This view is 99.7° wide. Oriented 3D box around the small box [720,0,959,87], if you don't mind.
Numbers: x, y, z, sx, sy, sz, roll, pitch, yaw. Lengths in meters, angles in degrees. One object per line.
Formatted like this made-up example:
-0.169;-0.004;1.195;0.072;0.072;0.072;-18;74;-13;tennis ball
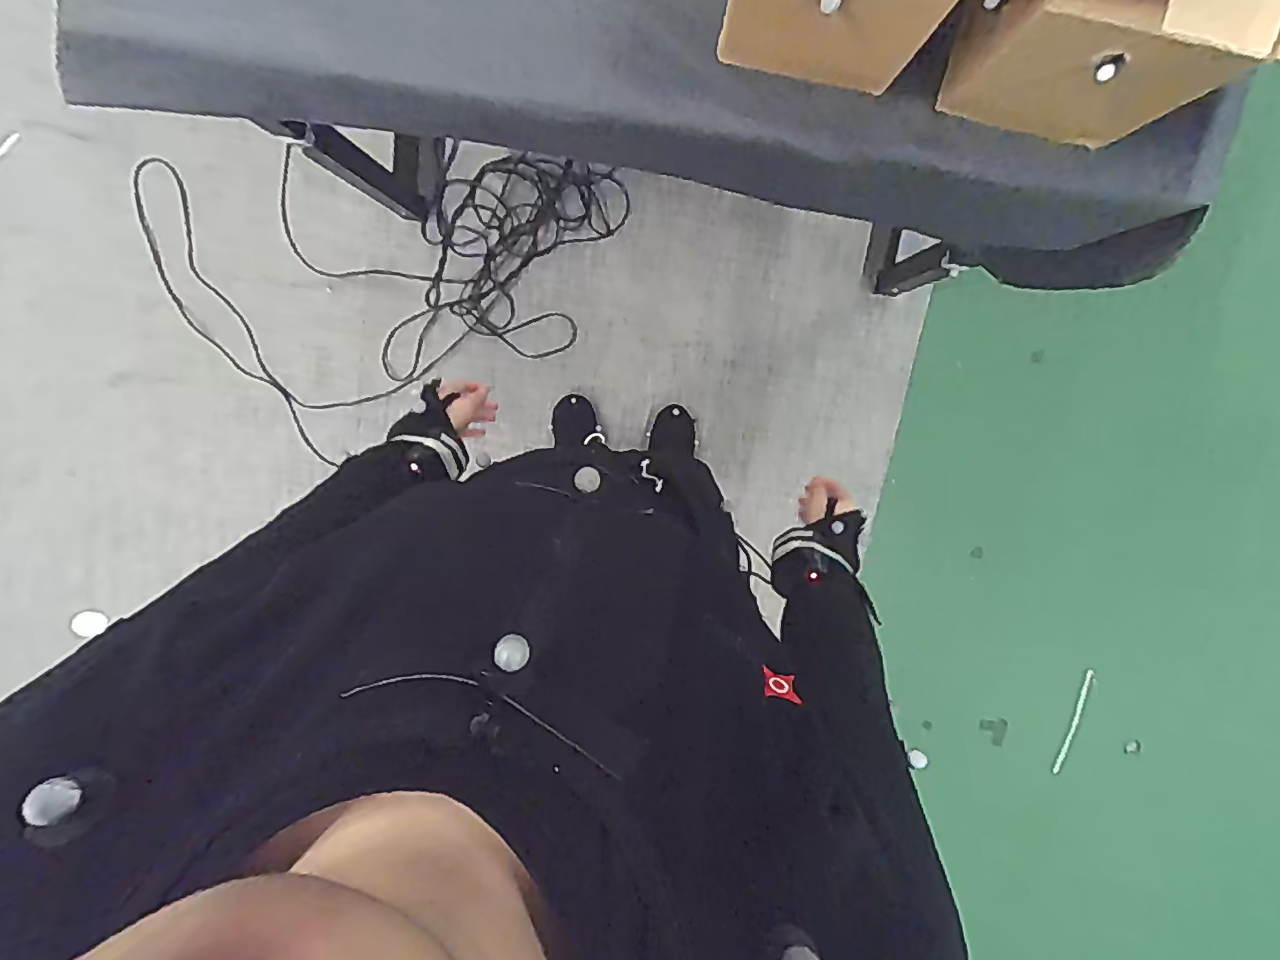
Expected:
0.177;-0.471;0.454;0.179;0.176;0.168;12;101;0;small box
